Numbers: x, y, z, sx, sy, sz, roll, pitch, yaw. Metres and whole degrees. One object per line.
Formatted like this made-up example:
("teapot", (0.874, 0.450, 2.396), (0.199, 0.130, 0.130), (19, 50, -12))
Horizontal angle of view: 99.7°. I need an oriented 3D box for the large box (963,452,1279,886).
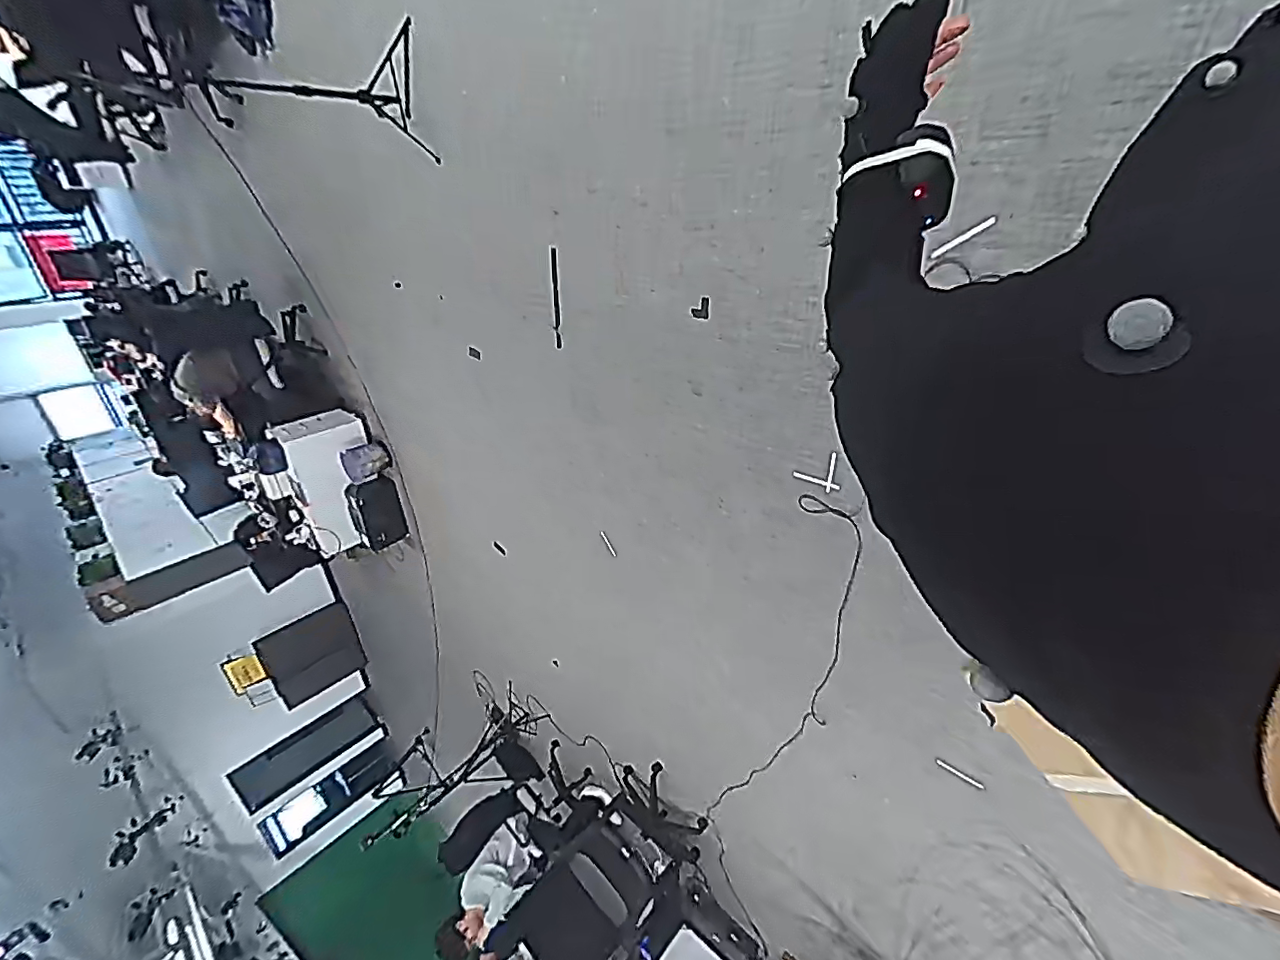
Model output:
("large box", (0.670, 0.190, 0.581), (0.320, 0.320, 0.408), (52, 147, 4))
